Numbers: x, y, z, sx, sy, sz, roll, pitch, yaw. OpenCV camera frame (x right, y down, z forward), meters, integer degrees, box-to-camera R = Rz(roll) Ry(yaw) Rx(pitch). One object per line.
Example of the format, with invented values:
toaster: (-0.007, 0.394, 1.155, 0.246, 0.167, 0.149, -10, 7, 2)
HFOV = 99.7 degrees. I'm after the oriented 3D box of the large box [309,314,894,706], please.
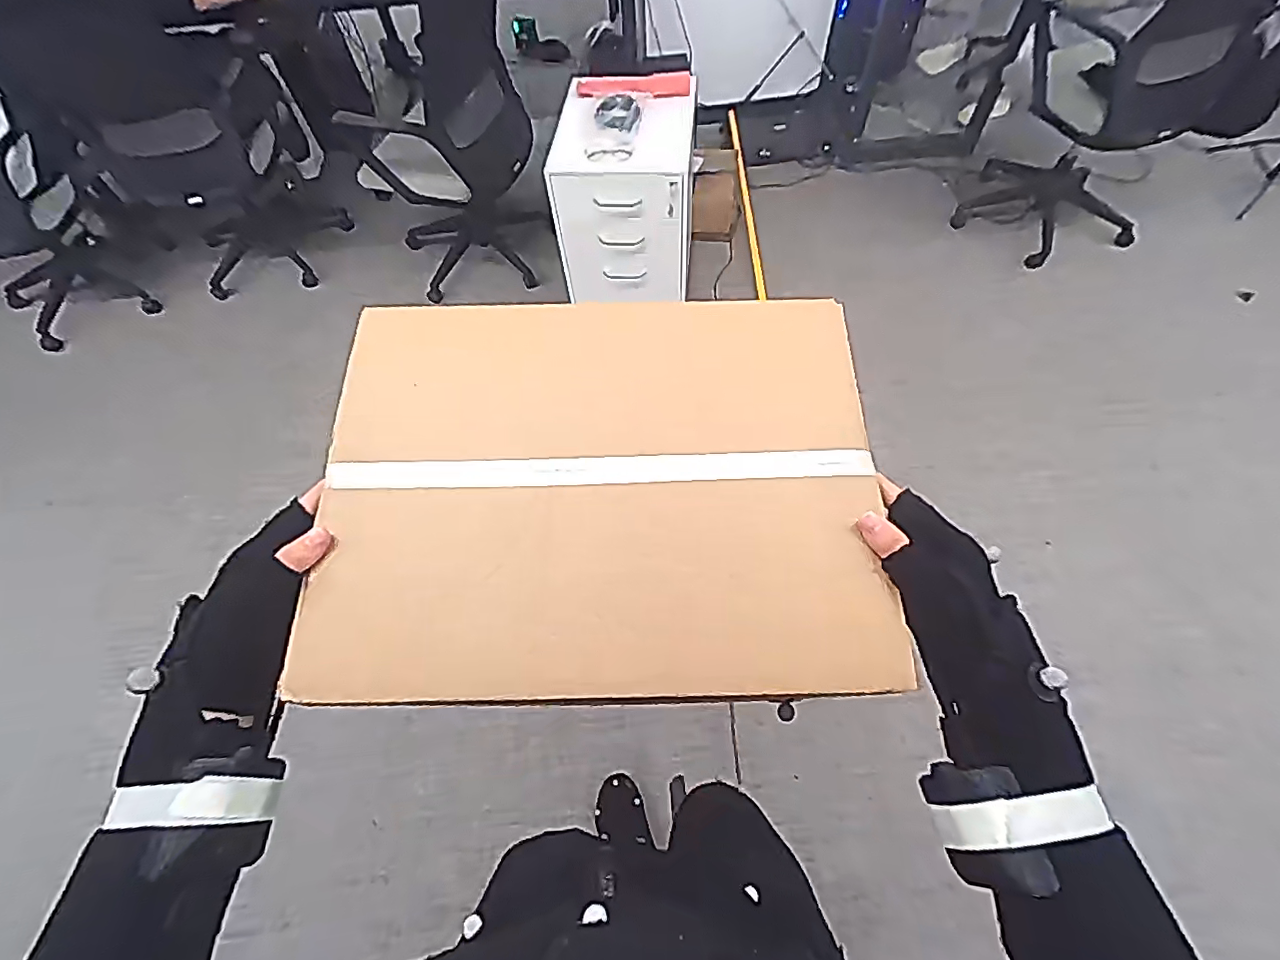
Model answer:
large box: (-0.026, 0.057, 0.555, 0.408, 0.320, 0.320, -1, 67, 0)
